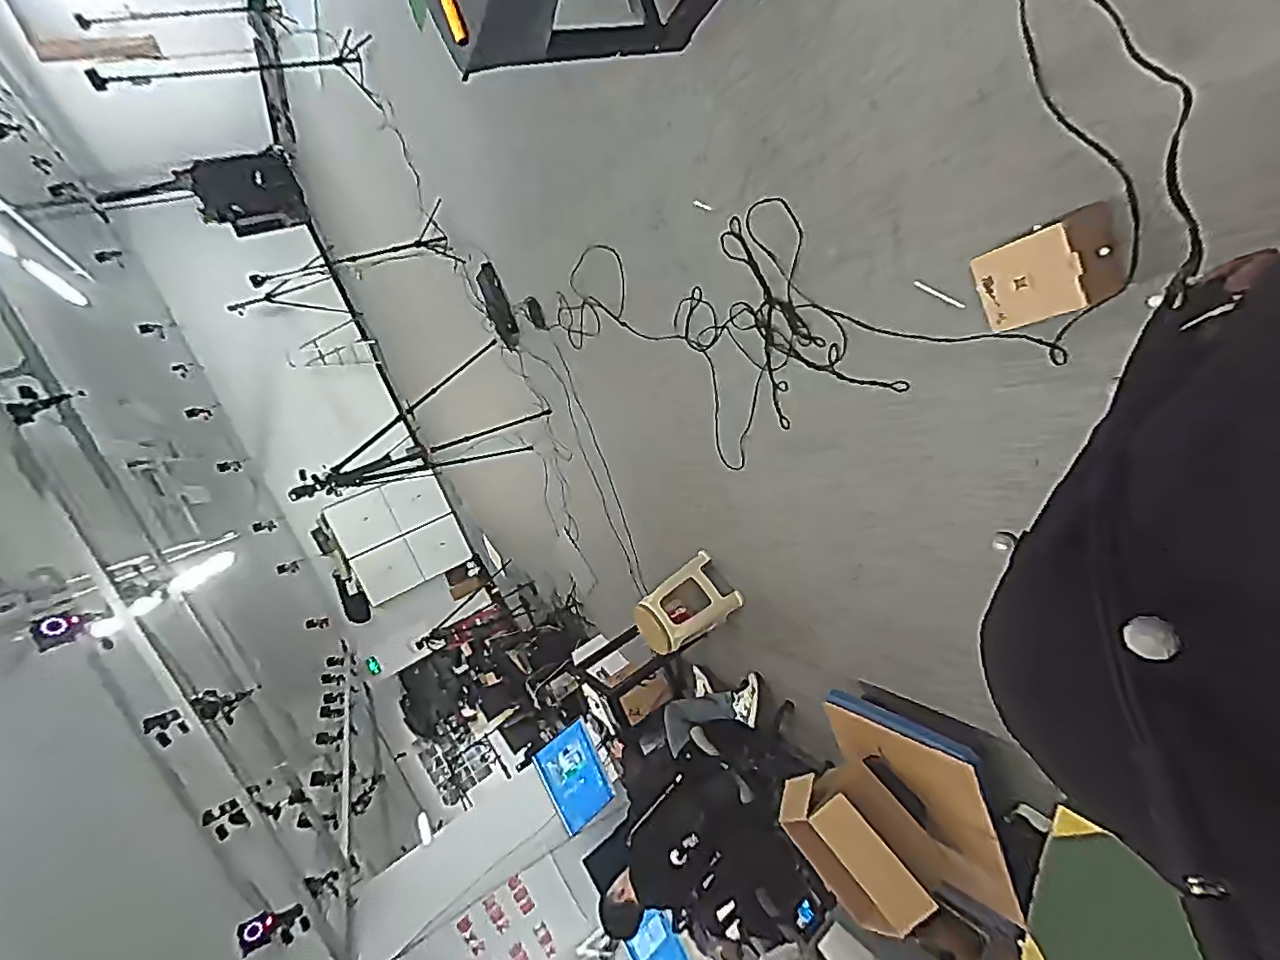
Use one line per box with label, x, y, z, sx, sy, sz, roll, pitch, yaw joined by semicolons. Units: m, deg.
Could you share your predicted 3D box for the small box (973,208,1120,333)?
small box;0.824;-0.421;1.090;0.179;0.176;0.168;-7;108;63
